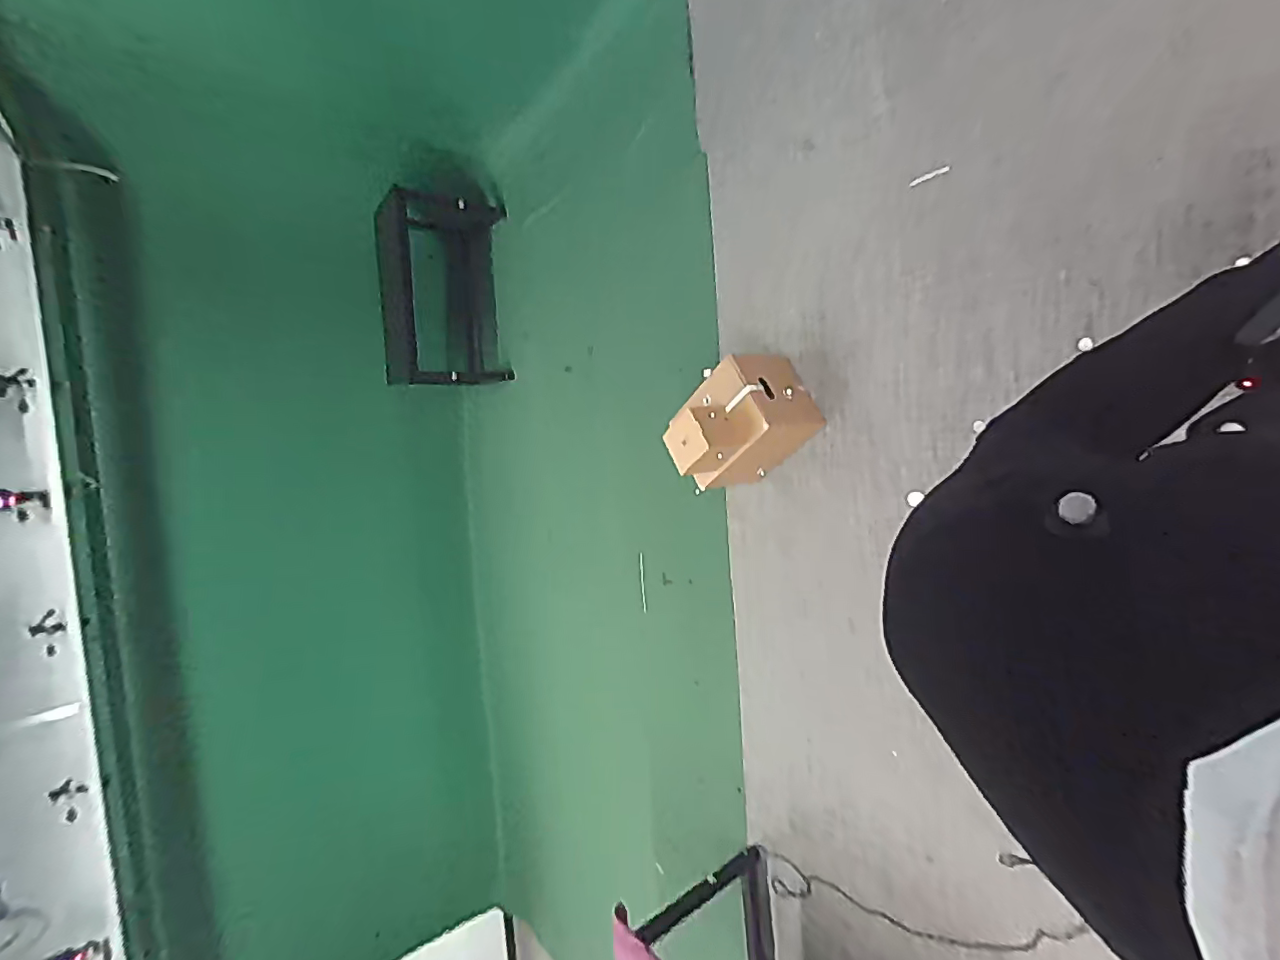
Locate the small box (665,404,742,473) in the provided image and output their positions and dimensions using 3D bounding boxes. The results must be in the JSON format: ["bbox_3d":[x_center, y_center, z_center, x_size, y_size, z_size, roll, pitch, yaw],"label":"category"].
[{"bbox_3d":[0.223,-0.145,1.840,0.179,0.176,0.168,-48,58,46],"label":"small box"}]
